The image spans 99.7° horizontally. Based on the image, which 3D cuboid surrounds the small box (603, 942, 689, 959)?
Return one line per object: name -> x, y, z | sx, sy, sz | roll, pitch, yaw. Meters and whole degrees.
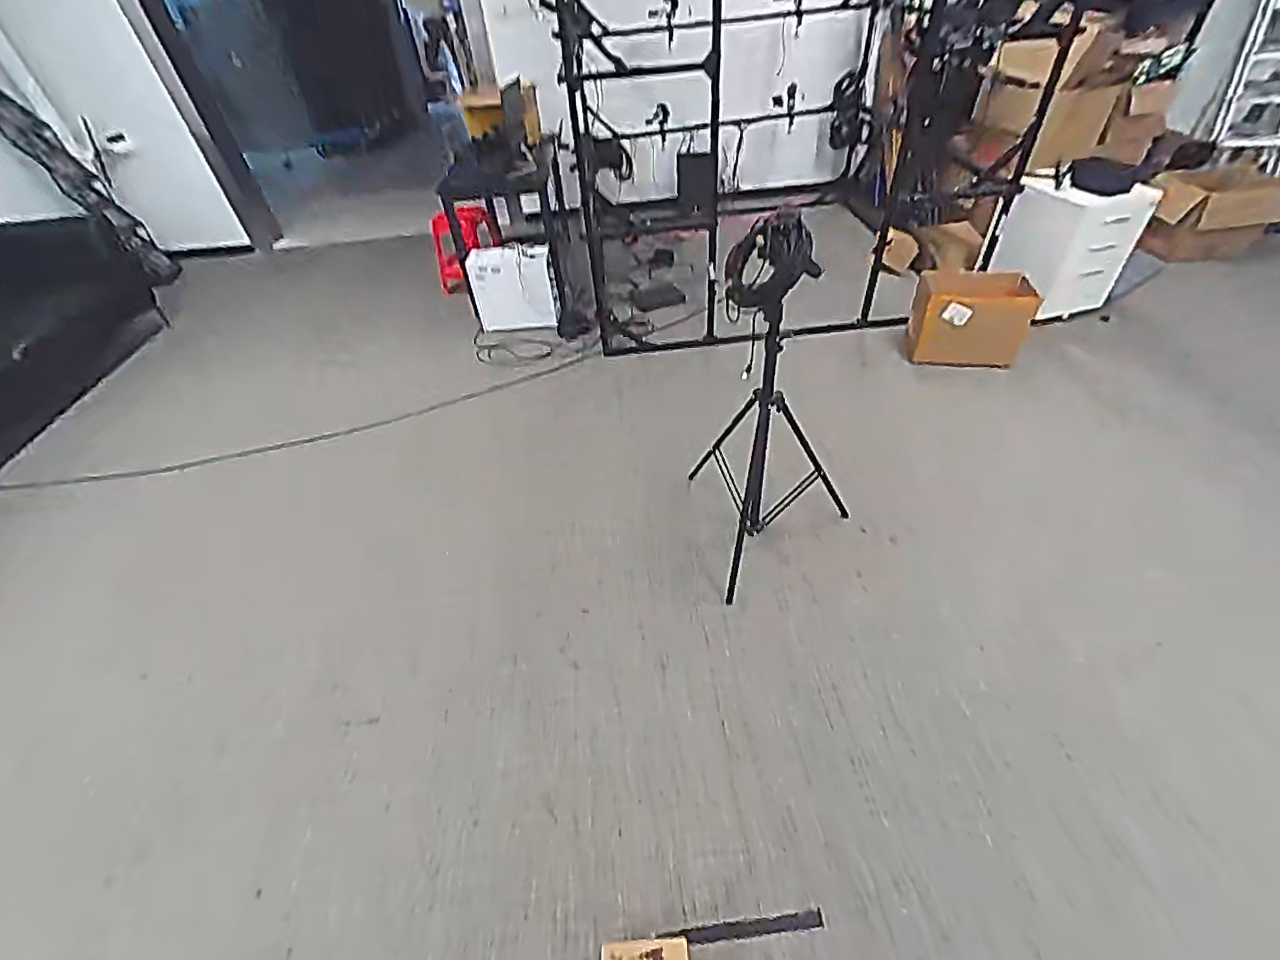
small box -> 0.020, 1.002, 1.024 | 0.168, 0.176, 0.179 | -5, 44, 1
